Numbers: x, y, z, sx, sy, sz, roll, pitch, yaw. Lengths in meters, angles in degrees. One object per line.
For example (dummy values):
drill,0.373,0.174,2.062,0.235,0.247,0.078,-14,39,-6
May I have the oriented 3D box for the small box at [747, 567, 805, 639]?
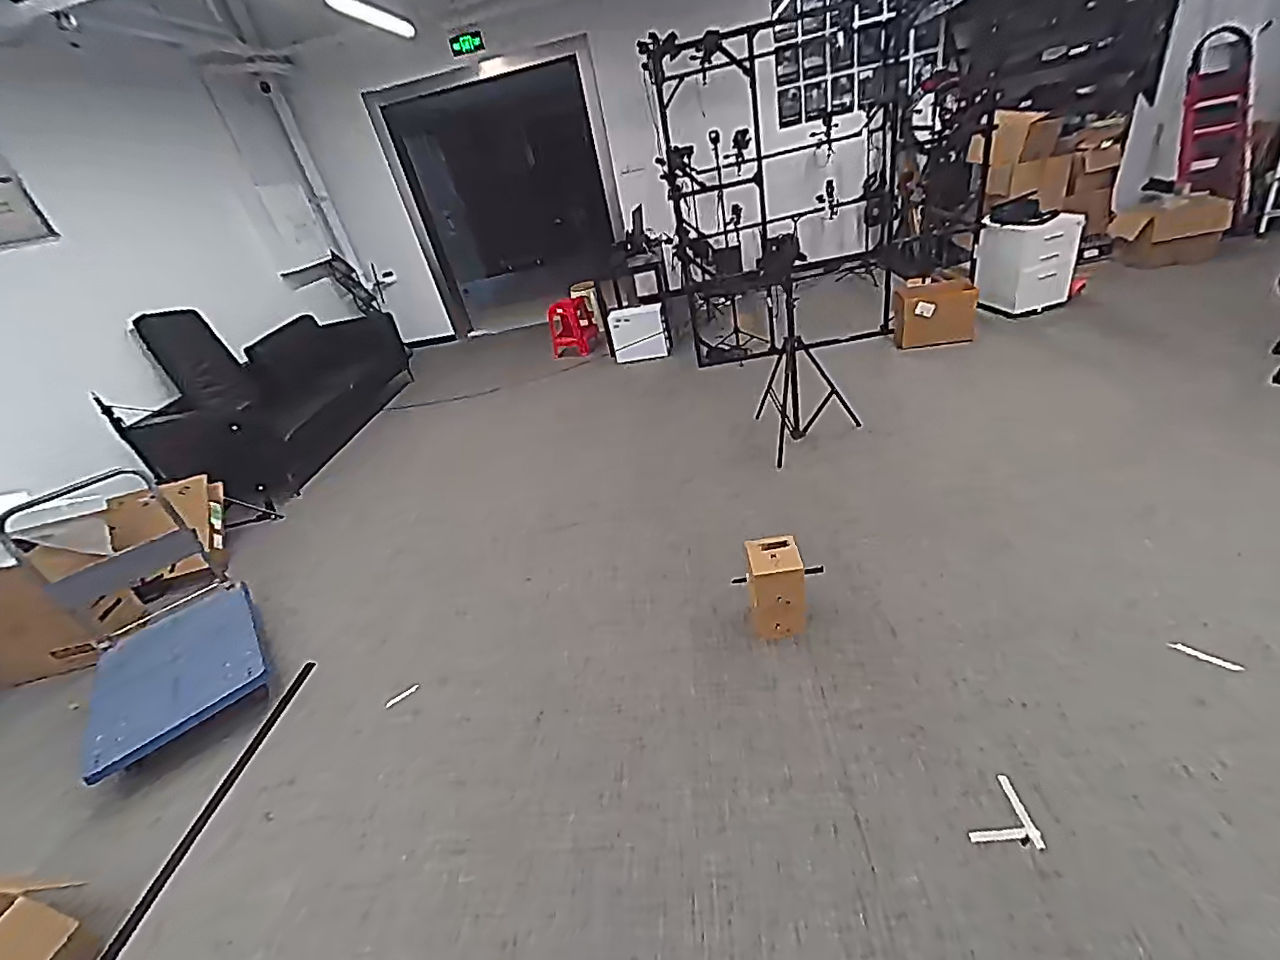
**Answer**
small box,0.492,0.445,1.959,0.168,0.176,0.179,-11,31,4
